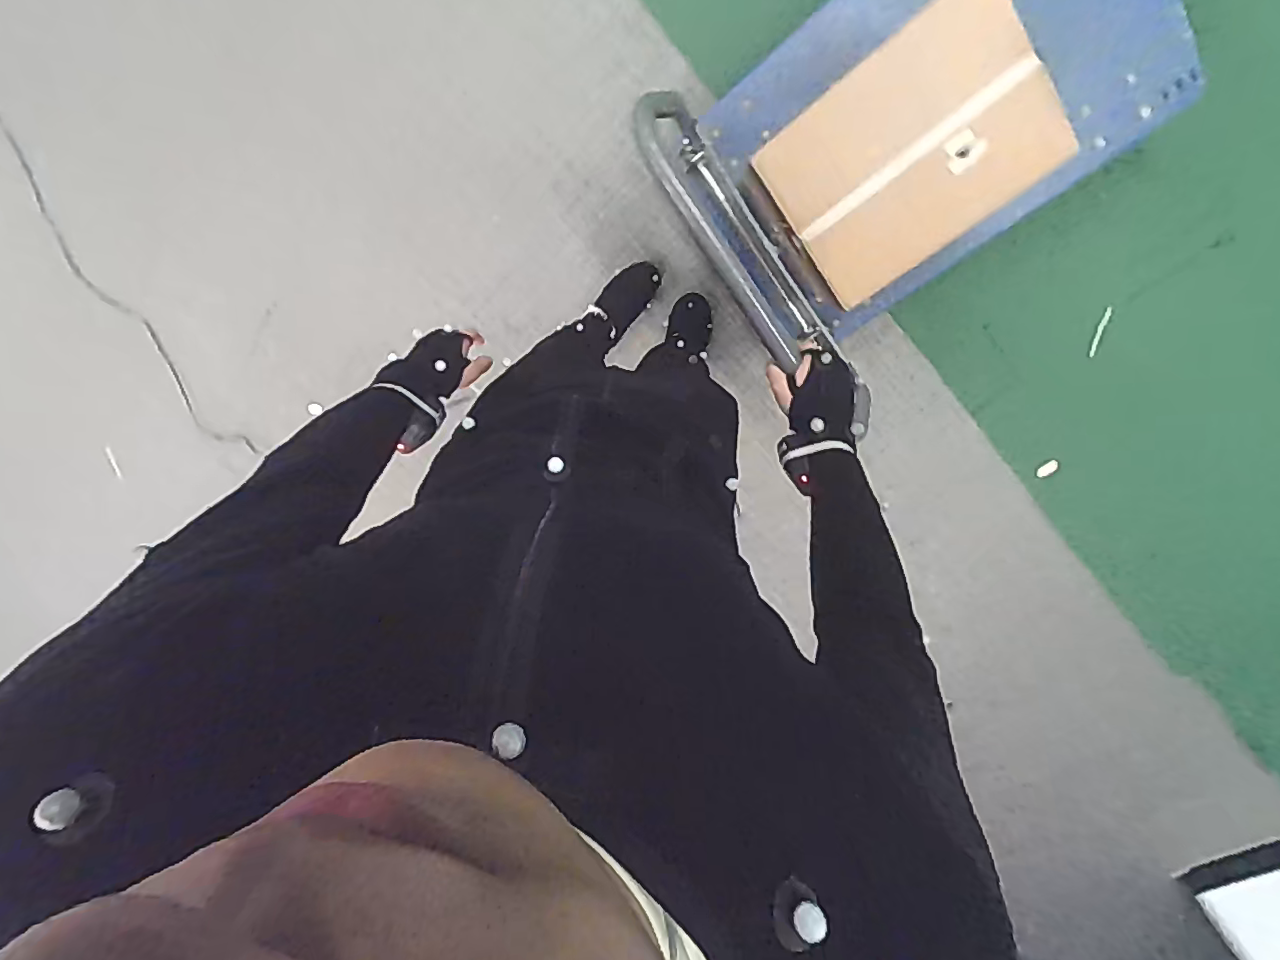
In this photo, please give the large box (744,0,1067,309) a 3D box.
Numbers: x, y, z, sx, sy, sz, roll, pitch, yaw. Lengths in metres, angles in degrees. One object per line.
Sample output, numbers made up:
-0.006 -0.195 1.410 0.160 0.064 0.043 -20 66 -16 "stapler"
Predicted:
0.450 -0.583 1.020 0.408 0.320 0.320 -33 106 19 "large box"
